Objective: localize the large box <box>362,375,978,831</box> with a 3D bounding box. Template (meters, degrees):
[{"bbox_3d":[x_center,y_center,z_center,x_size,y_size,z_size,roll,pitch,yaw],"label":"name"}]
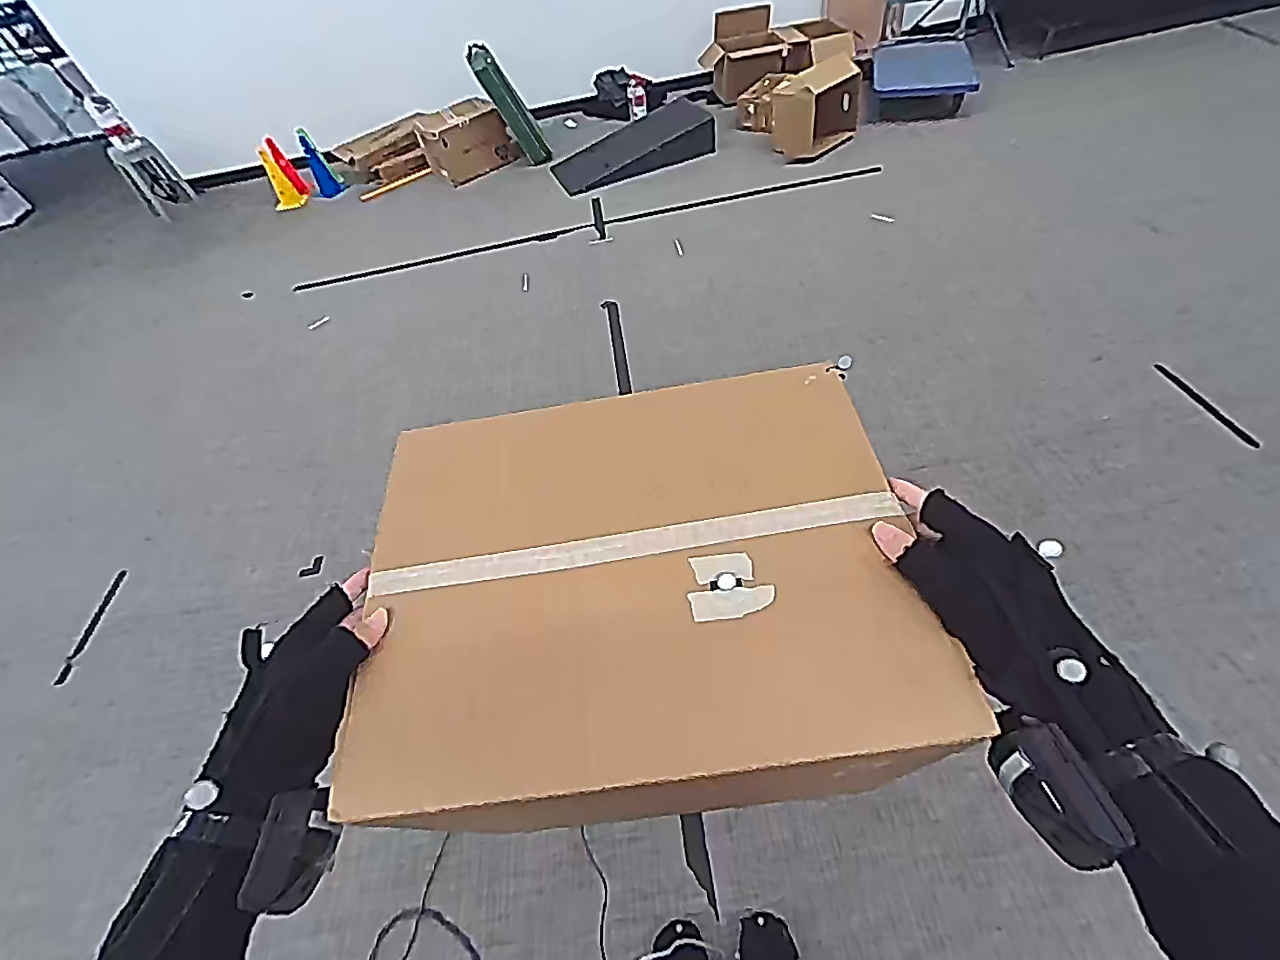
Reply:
[{"bbox_3d":[0.015,0.140,0.545,0.408,0.320,0.320,-9,55,2],"label":"large box"}]
